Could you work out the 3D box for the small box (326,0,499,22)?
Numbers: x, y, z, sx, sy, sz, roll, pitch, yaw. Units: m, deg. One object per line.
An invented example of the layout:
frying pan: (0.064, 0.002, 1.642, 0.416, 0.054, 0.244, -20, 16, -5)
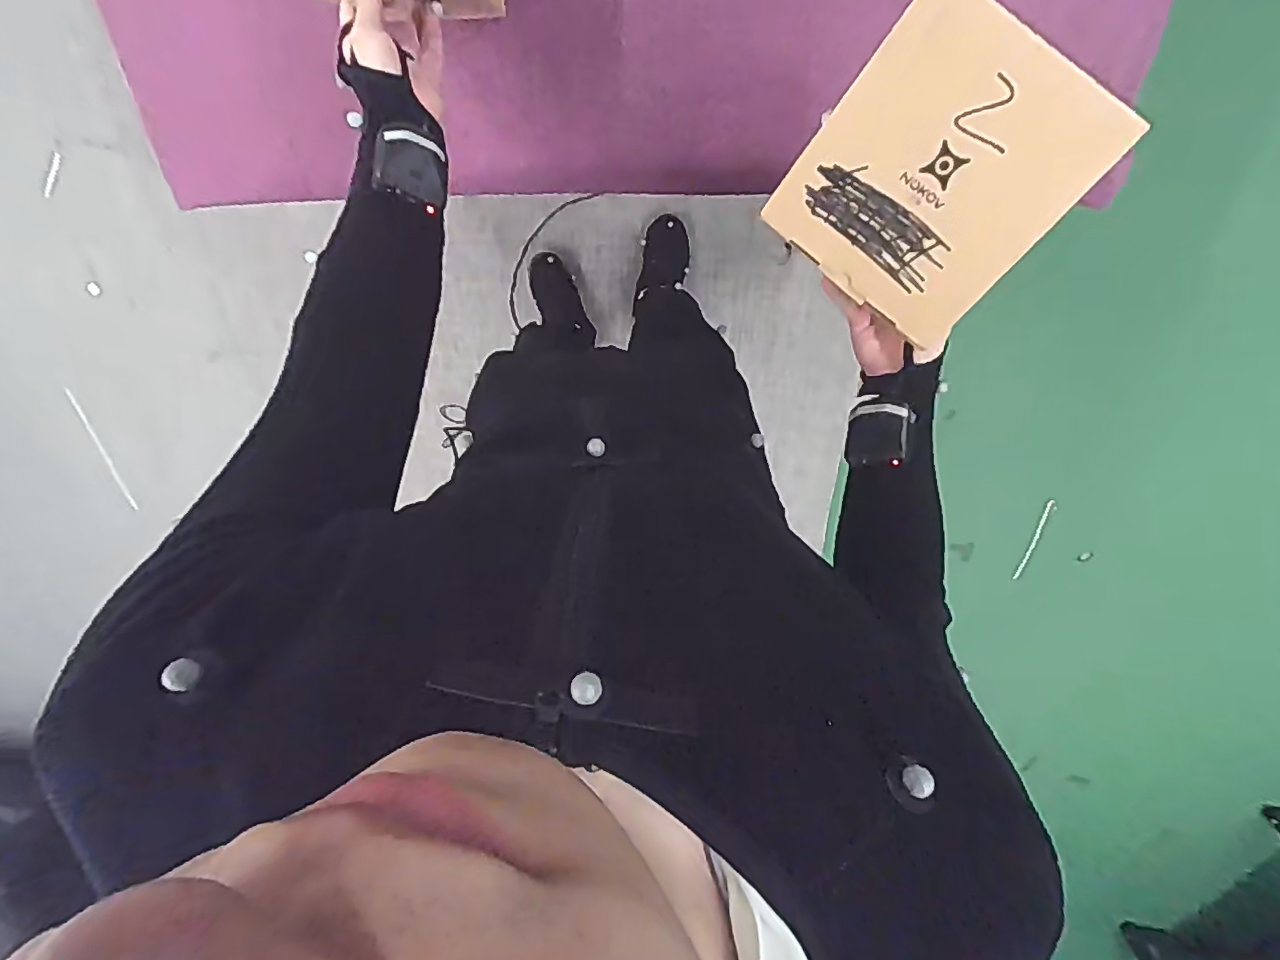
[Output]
small box: (-0.243, -0.561, 0.511, 0.168, 0.176, 0.179, 3, 118, 4)
